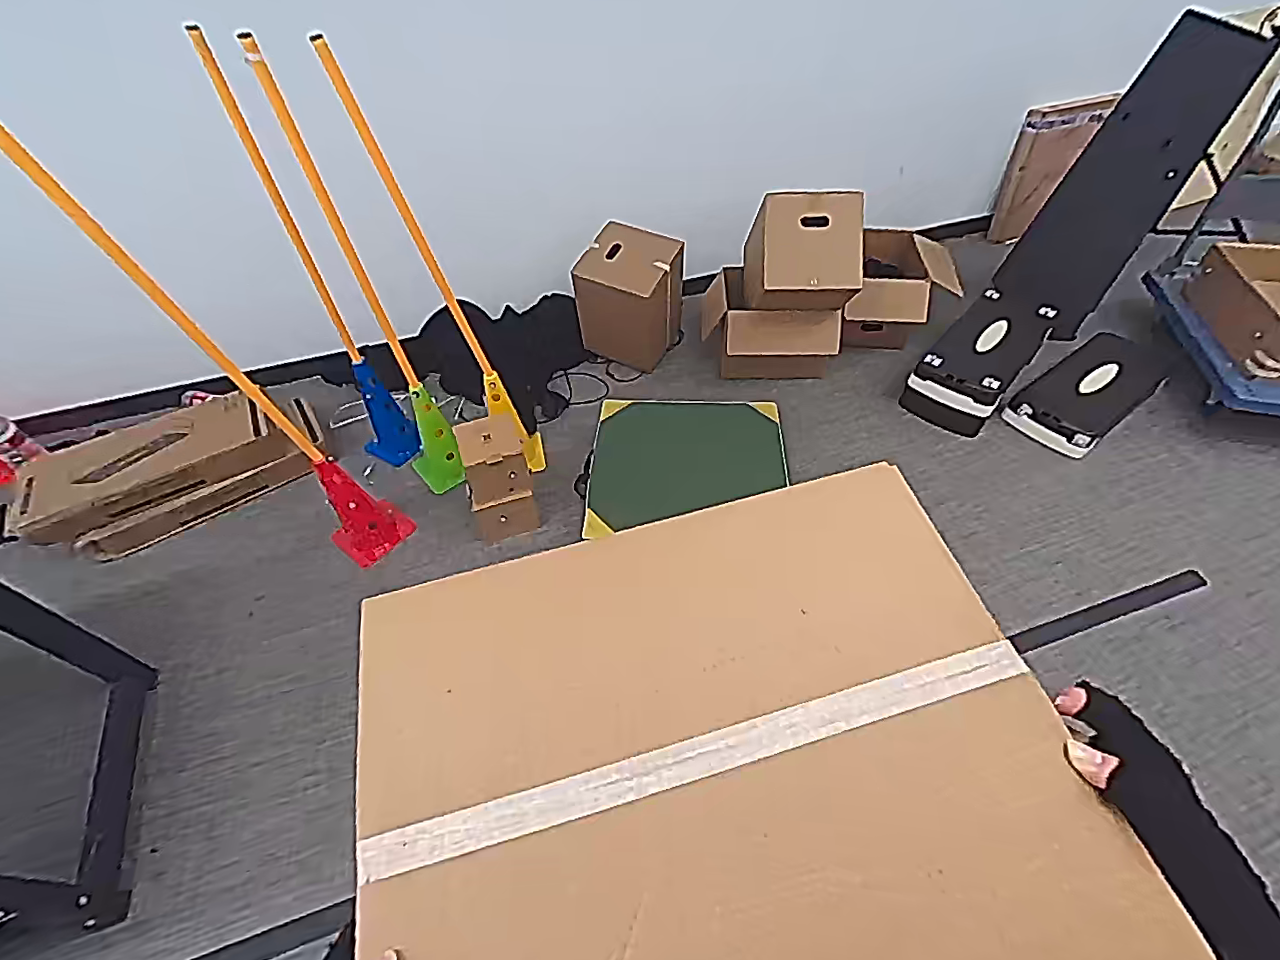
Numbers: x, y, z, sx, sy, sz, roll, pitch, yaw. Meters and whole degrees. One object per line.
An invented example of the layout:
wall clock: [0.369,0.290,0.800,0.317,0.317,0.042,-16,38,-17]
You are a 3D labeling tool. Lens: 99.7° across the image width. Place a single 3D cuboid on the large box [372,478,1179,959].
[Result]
large box: [0.051,0.249,0.450,0.408,0.320,0.320,-15,57,-5]
